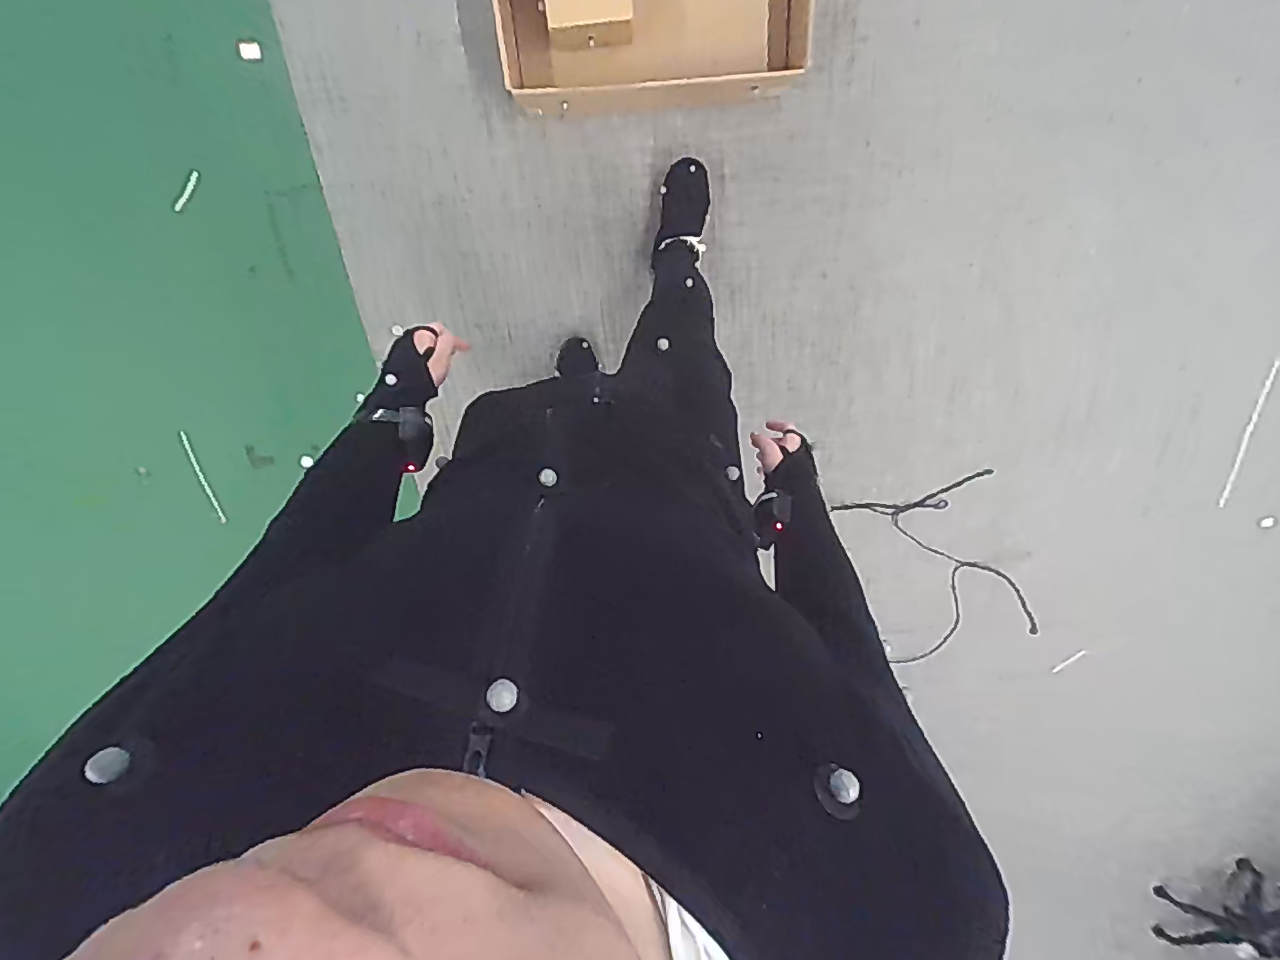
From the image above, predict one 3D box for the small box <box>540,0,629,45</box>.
[{"bbox_3d":[-0.109,-0.976,1.052,0.168,0.176,0.179,-5,116,1],"label":"small box"}]
